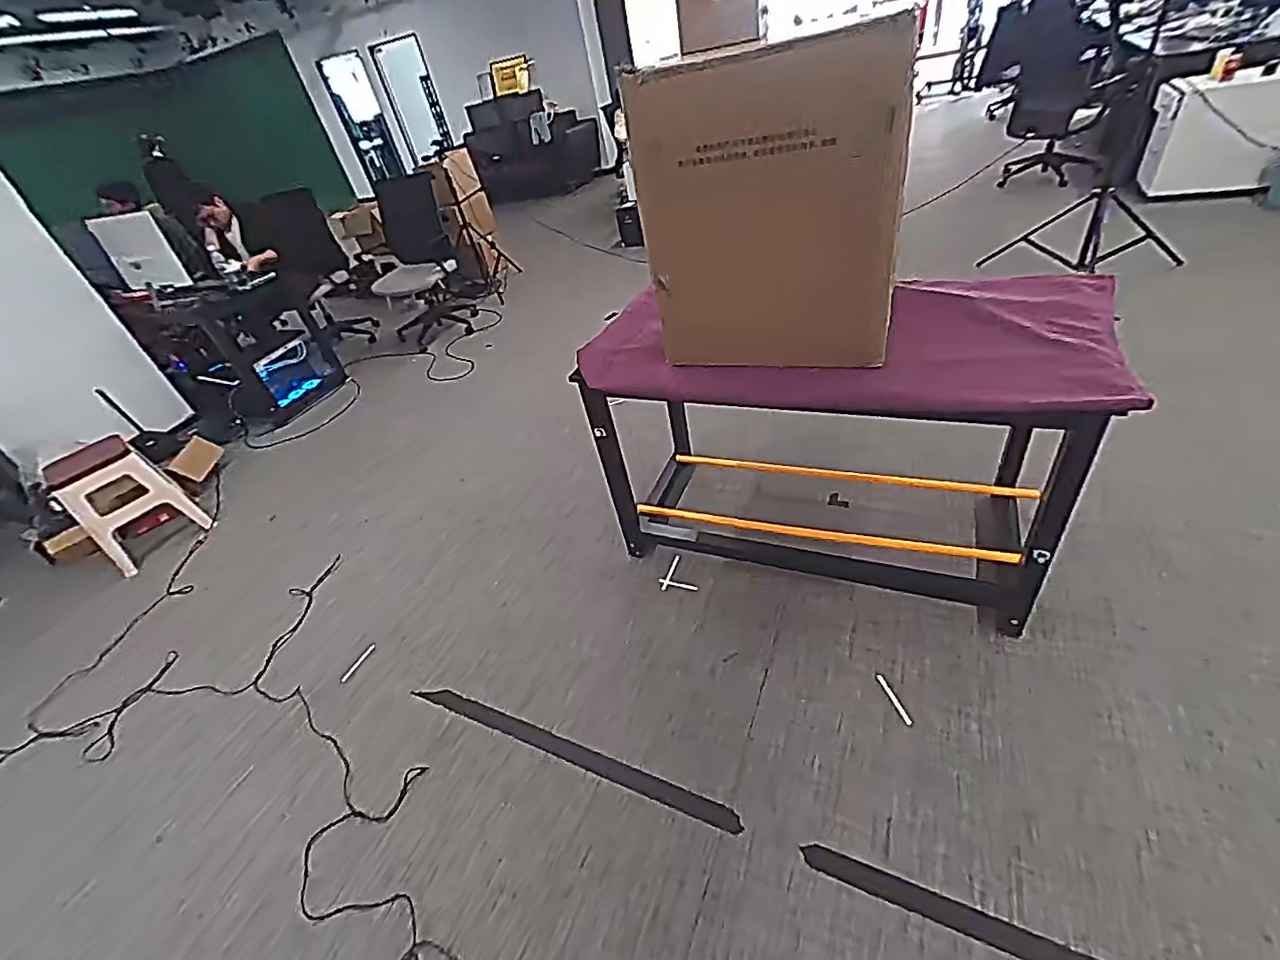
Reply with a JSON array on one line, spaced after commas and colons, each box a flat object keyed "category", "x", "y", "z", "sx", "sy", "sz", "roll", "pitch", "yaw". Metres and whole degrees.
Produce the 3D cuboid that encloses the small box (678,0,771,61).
[{"category": "small box", "x": 0.175, "y": -0.990, "z": 1.111, "sx": 0.168, "sy": 0.176, "sz": 0.179, "roll": 4, "pitch": 42, "yaw": 19}]
